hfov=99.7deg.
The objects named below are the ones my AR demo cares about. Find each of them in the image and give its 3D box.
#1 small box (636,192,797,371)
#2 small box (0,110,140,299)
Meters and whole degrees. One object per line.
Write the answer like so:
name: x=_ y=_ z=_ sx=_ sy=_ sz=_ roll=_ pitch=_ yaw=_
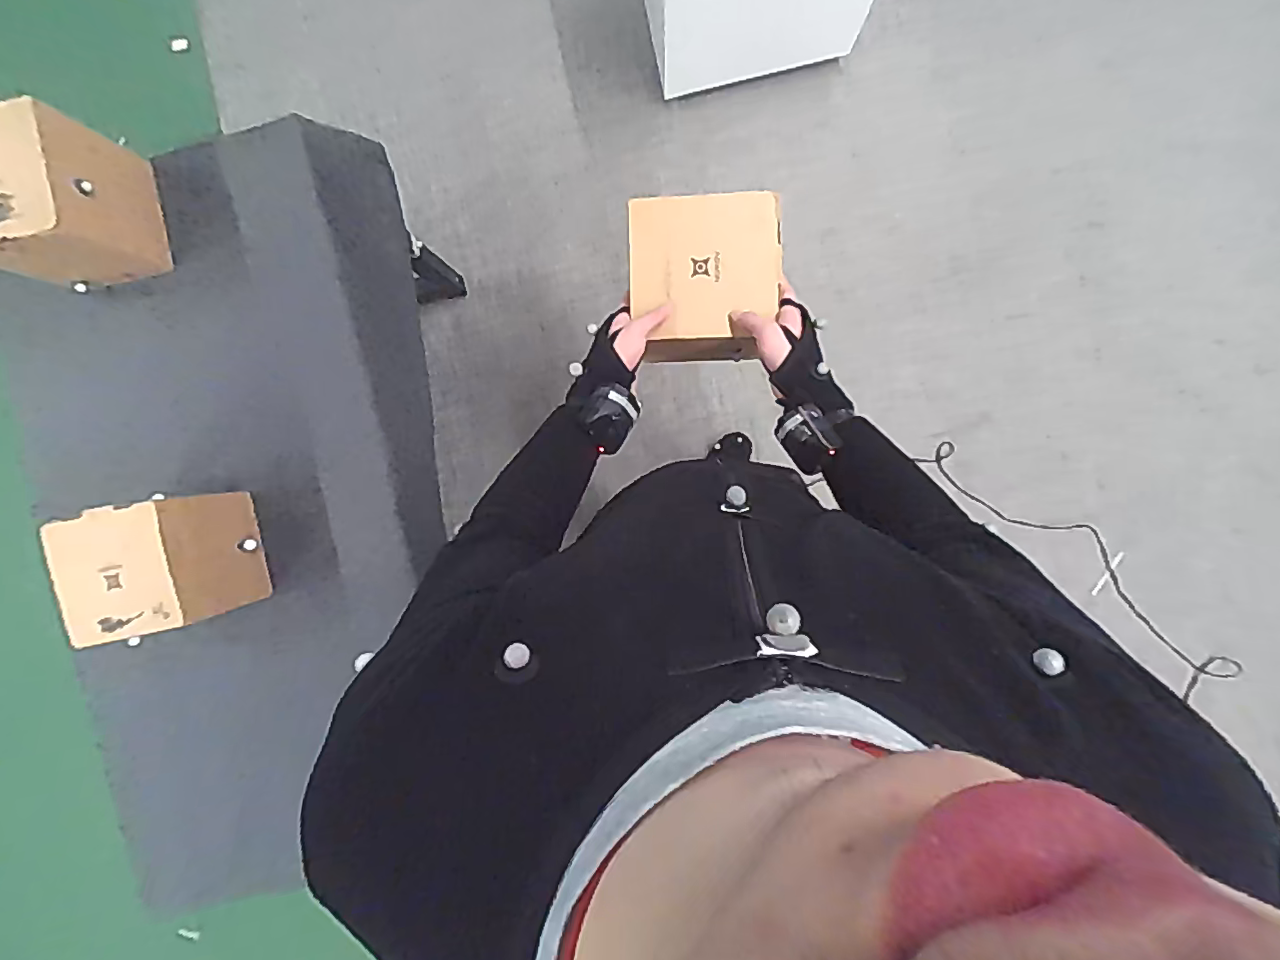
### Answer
small box: x=0.090 y=-0.237 z=0.684 sx=0.179 sy=0.176 sz=0.168 roll=-3 pitch=91 yaw=4
small box: x=-0.840 y=-0.360 z=0.734 sx=0.168 sy=0.176 sz=0.179 roll=-12 pitch=91 yaw=1
